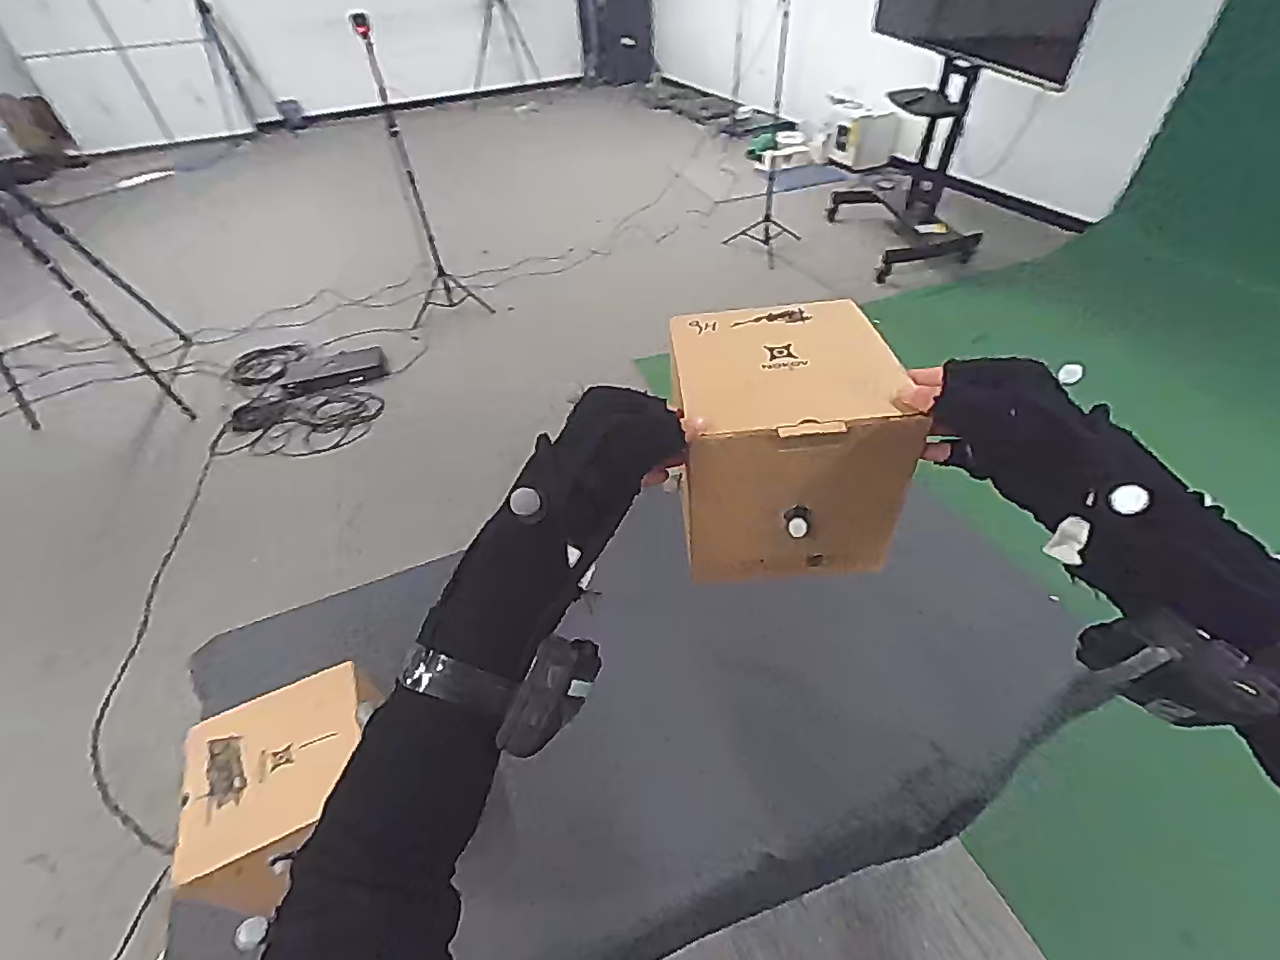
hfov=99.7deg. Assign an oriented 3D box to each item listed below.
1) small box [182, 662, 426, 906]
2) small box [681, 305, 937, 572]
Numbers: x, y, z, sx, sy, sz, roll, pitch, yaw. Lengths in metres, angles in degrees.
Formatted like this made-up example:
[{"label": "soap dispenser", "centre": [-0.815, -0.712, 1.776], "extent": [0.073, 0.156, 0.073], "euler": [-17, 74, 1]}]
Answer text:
[{"label": "small box", "centre": [-0.374, 0.353, 0.629], "extent": [0.179, 0.176, 0.168], "euler": [-20, 47, -17]}, {"label": "small box", "centre": [0.127, -0.031, 0.479], "extent": [0.168, 0.176, 0.179], "euler": [-4, 44, 3]}]
